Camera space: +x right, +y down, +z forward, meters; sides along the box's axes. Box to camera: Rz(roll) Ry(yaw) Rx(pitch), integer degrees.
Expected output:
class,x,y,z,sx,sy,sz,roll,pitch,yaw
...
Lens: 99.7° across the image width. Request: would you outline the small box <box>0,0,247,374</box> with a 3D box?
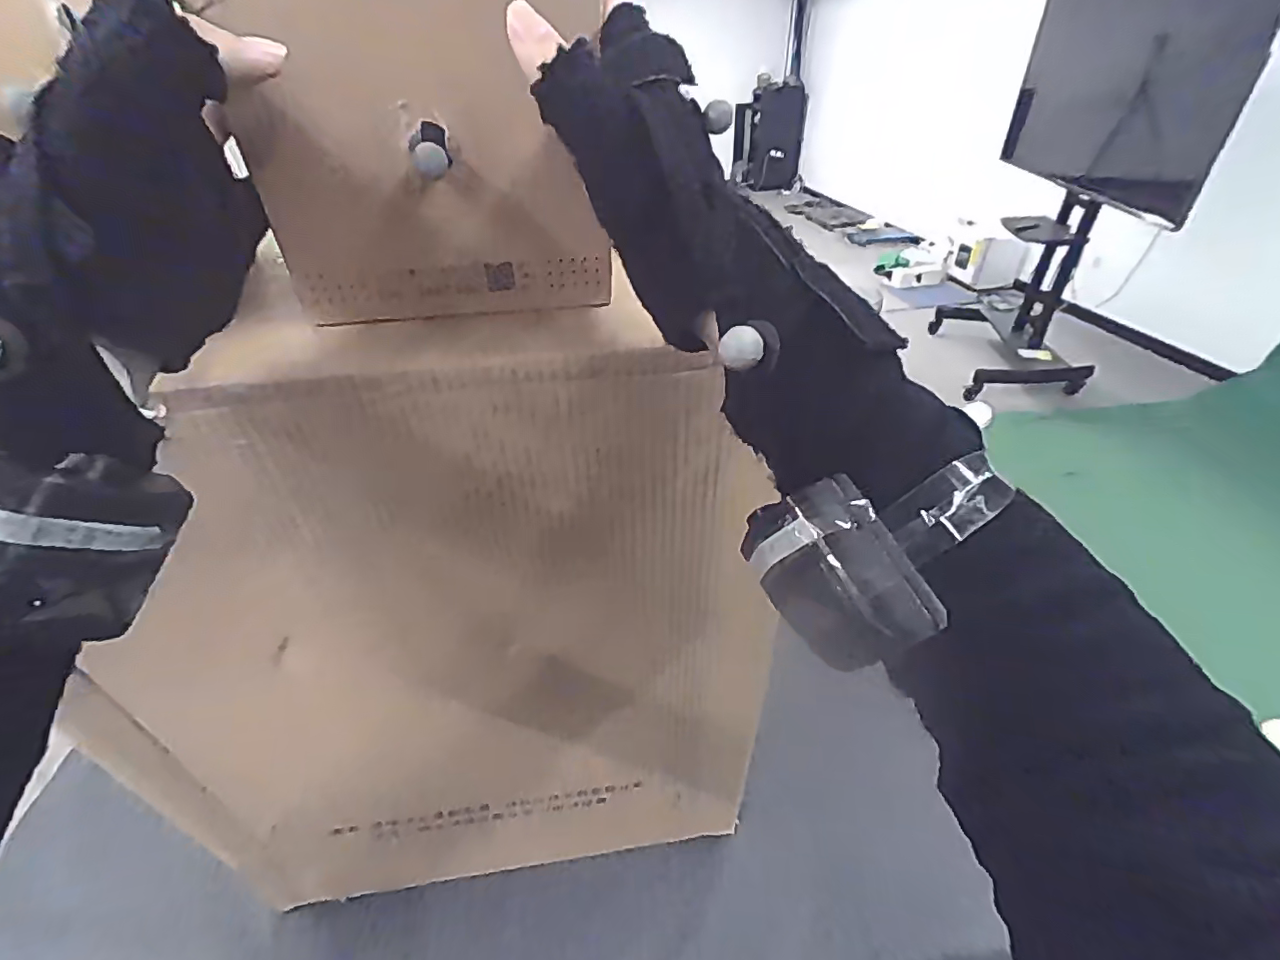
class,x,y,z,sx,sy,sz,roll,pitch,yaw
small box,-0.347,-0.161,0.278,0.168,0.176,0.179,-7,38,-9
